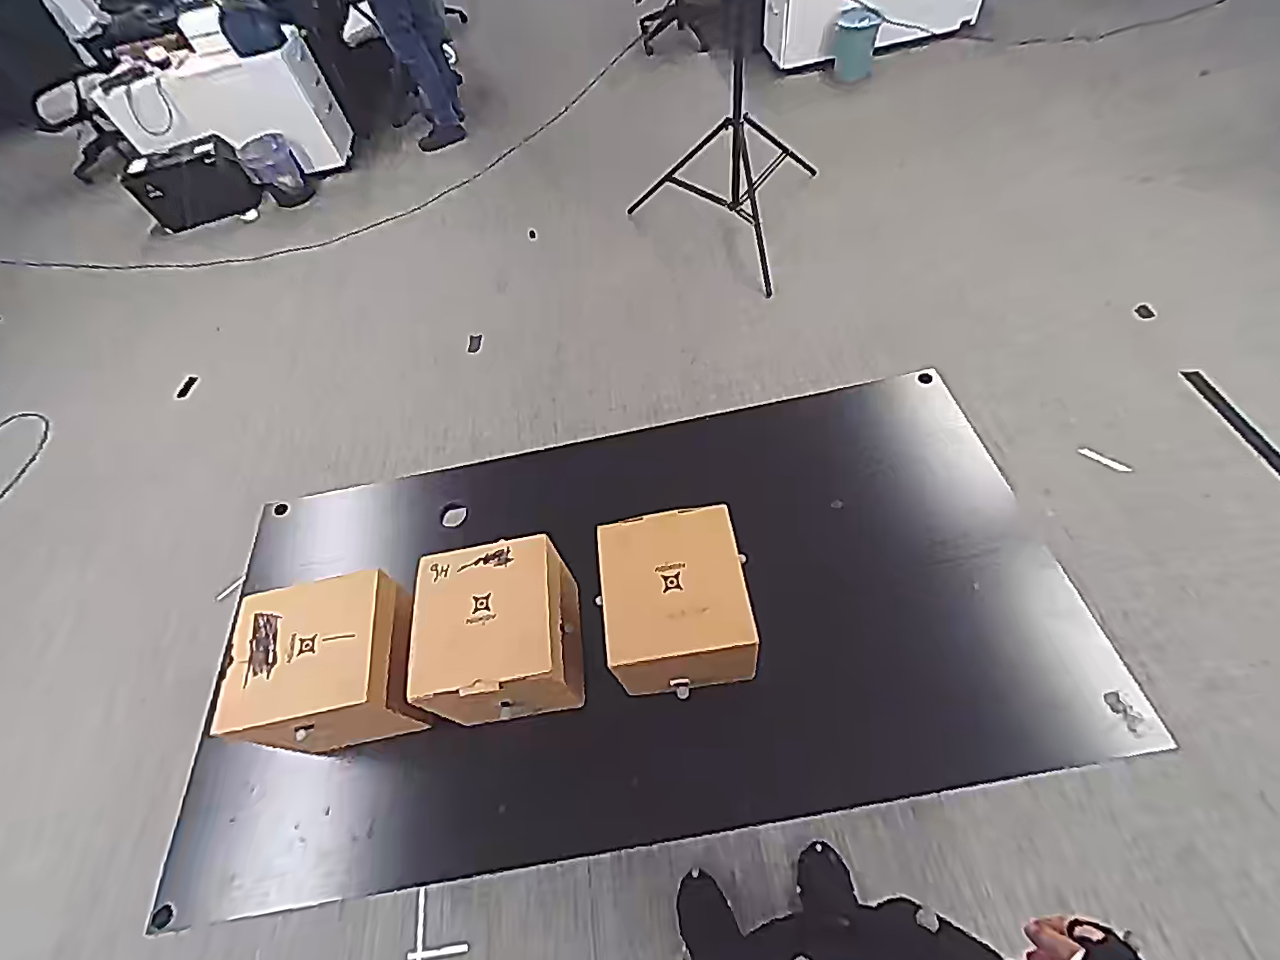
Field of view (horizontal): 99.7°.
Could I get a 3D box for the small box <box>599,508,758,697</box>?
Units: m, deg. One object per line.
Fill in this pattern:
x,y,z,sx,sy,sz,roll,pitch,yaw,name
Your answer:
0.048,0.163,0.697,0.168,0.176,0.179,-12,57,4,small box

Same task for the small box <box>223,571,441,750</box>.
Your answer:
-0.385,0.243,0.712,0.179,0.176,0.168,-12,56,0,small box
